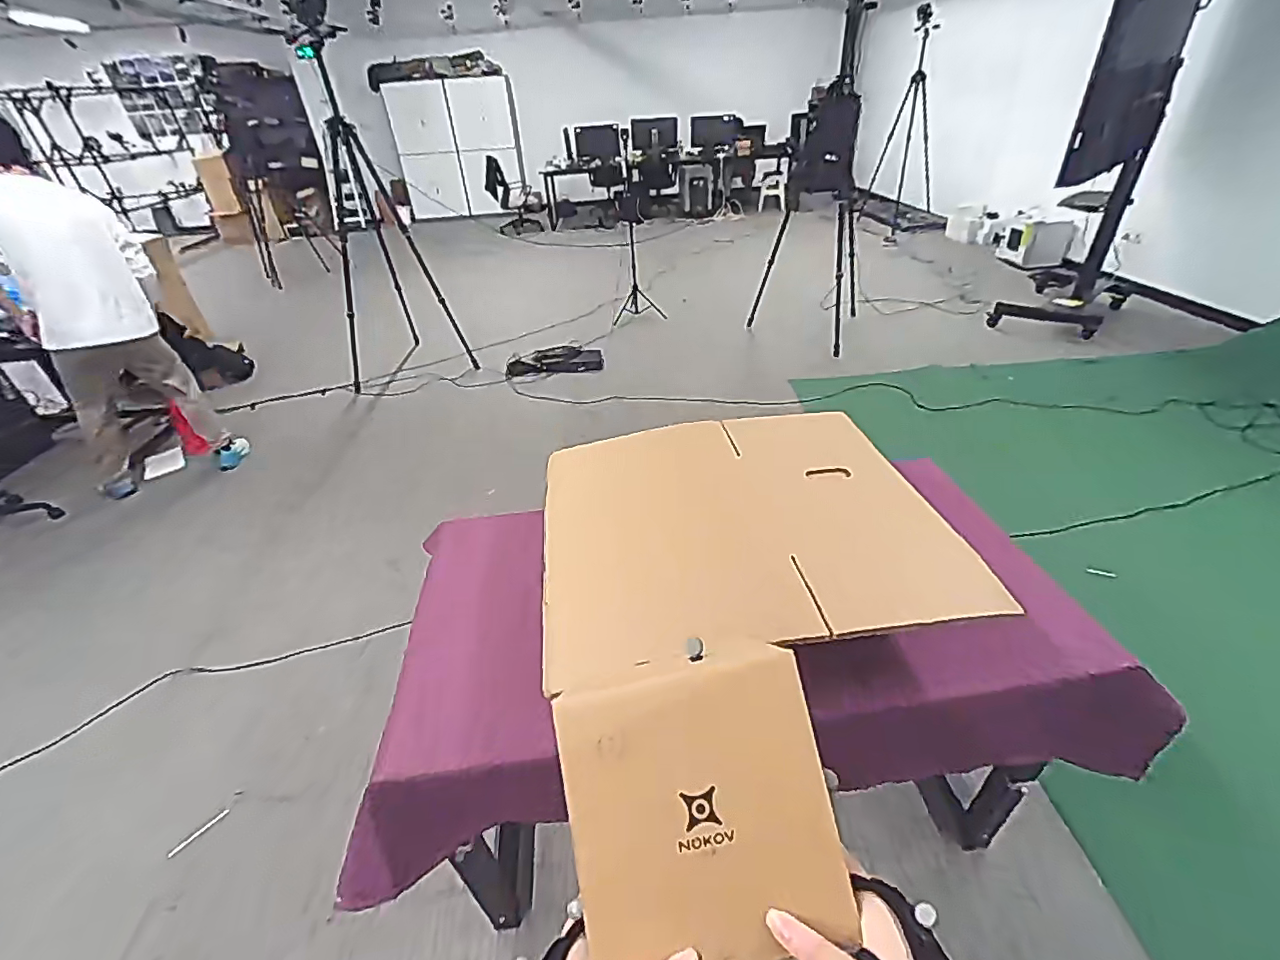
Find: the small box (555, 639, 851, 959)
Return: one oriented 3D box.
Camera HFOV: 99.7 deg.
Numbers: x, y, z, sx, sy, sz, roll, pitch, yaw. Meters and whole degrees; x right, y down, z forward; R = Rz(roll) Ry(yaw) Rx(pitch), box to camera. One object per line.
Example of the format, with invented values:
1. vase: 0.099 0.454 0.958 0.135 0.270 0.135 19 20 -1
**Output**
1. small box: 0.036 0.229 0.428 0.168 0.176 0.179 -11 79 -2
